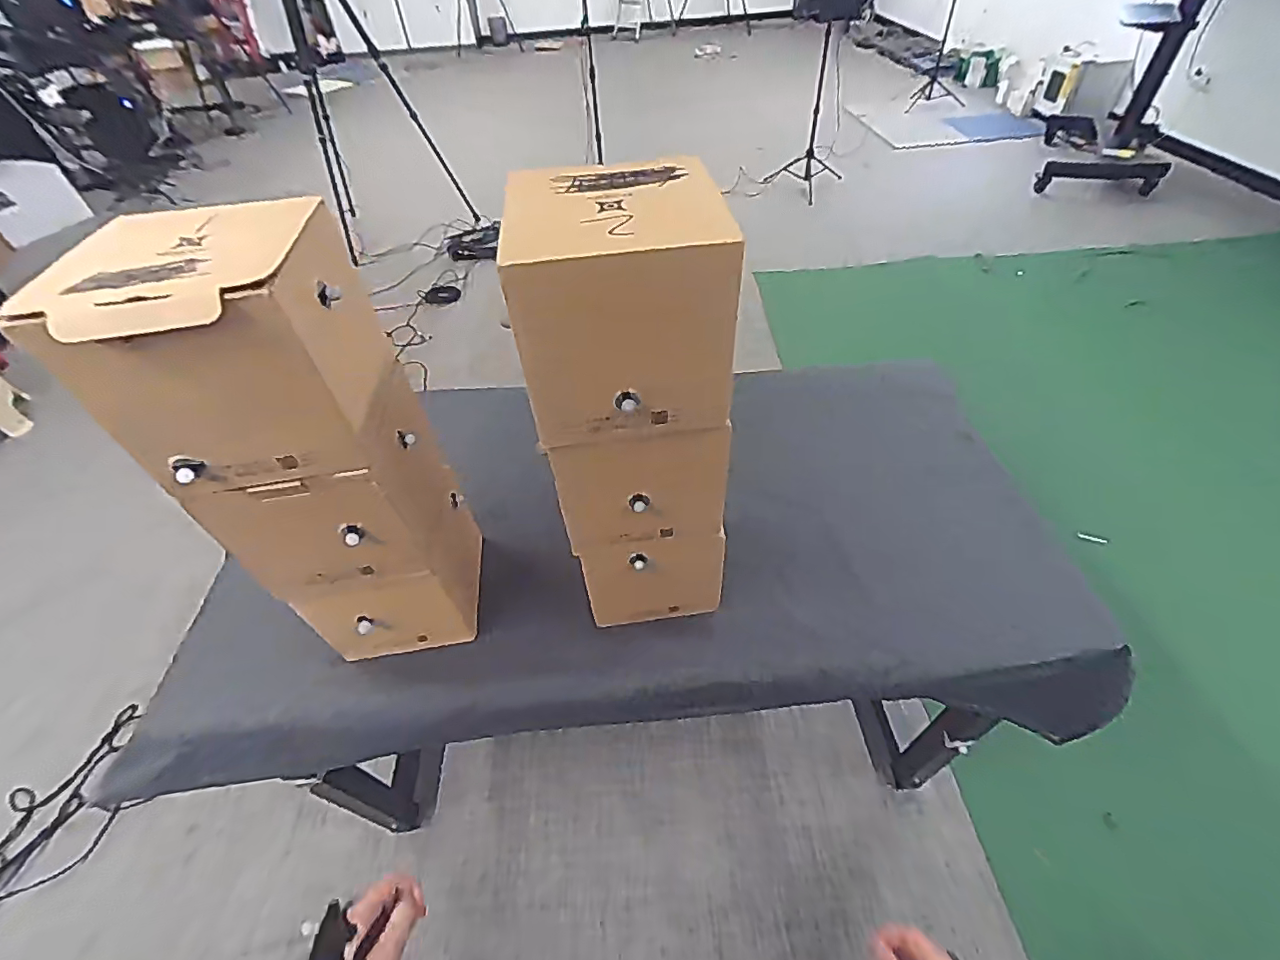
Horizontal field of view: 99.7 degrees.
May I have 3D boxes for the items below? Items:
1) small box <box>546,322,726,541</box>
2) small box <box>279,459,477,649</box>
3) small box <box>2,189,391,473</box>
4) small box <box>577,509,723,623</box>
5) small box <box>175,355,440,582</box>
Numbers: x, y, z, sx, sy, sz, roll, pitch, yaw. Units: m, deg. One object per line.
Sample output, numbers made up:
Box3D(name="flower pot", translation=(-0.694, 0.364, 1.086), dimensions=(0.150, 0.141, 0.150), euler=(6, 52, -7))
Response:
Box3D(name="small box", translation=(-0.008, -0.047, 0.590), dimensions=(0.168, 0.176, 0.179), euler=(-6, 47, -4))
Box3D(name="small box", translation=(-0.316, 0.101, 0.697), dimensions=(0.168, 0.176, 0.179), euler=(-8, 47, -4))
Box3D(name="small box", translation=(-0.330, -0.121, 0.457), dimensions=(0.168, 0.176, 0.179), euler=(-9, 47, -7))
Box3D(name="small box", translation=(0.006, 0.064, 0.714), dimensions=(0.168, 0.176, 0.179), euler=(-7, 47, -3))
Box3D(name="small box", translation=(-0.324, -0.007, 0.576), dimensions=(0.168, 0.176, 0.179), euler=(-8, 46, -6))
